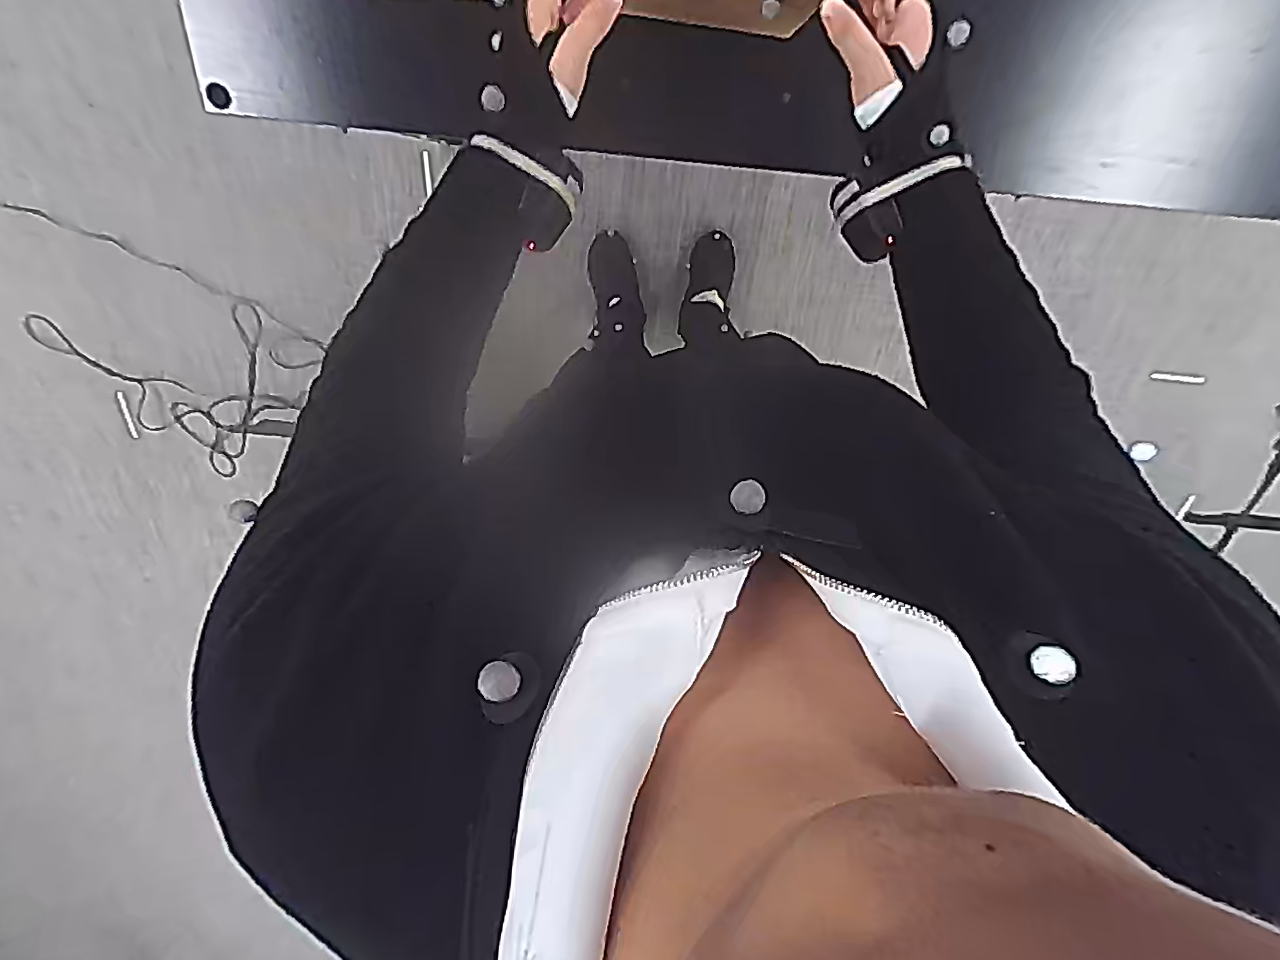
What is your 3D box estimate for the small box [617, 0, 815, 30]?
[{"bbox_3d":[0.071,-0.483,0.424,0.179,0.176,0.168,5,118,-3],"label":"small box"}]
